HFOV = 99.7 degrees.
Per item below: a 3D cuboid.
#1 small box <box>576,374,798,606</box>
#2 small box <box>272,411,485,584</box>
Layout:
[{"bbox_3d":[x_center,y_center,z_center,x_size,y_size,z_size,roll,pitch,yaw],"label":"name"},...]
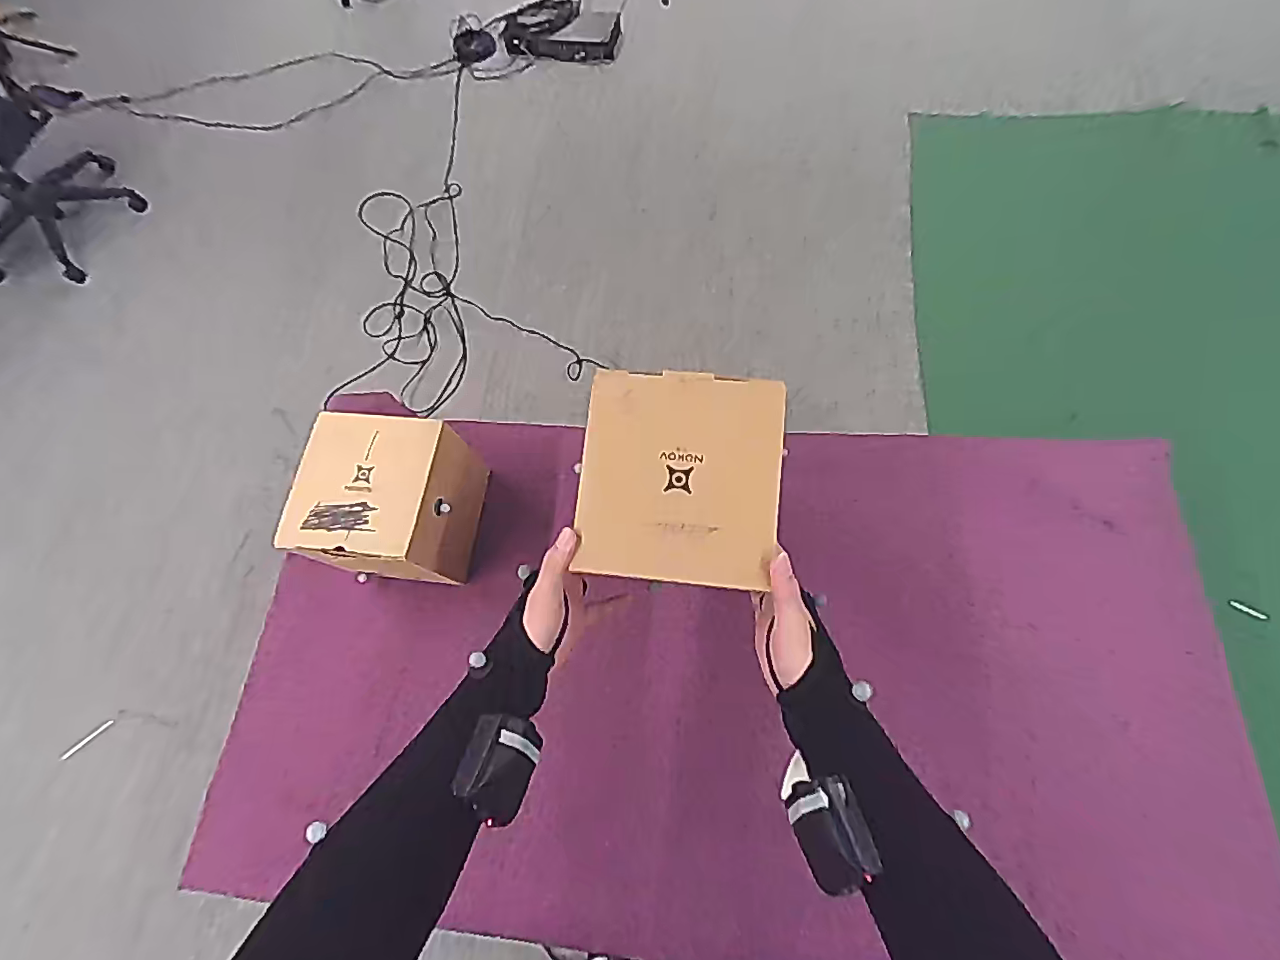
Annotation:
[{"bbox_3d":[0.044,0.015,0.517,0.168,0.176,0.179,6,83,5],"label":"small box"},{"bbox_3d":[-0.317,0.031,0.698,0.168,0.176,0.179,6,71,6],"label":"small box"}]
